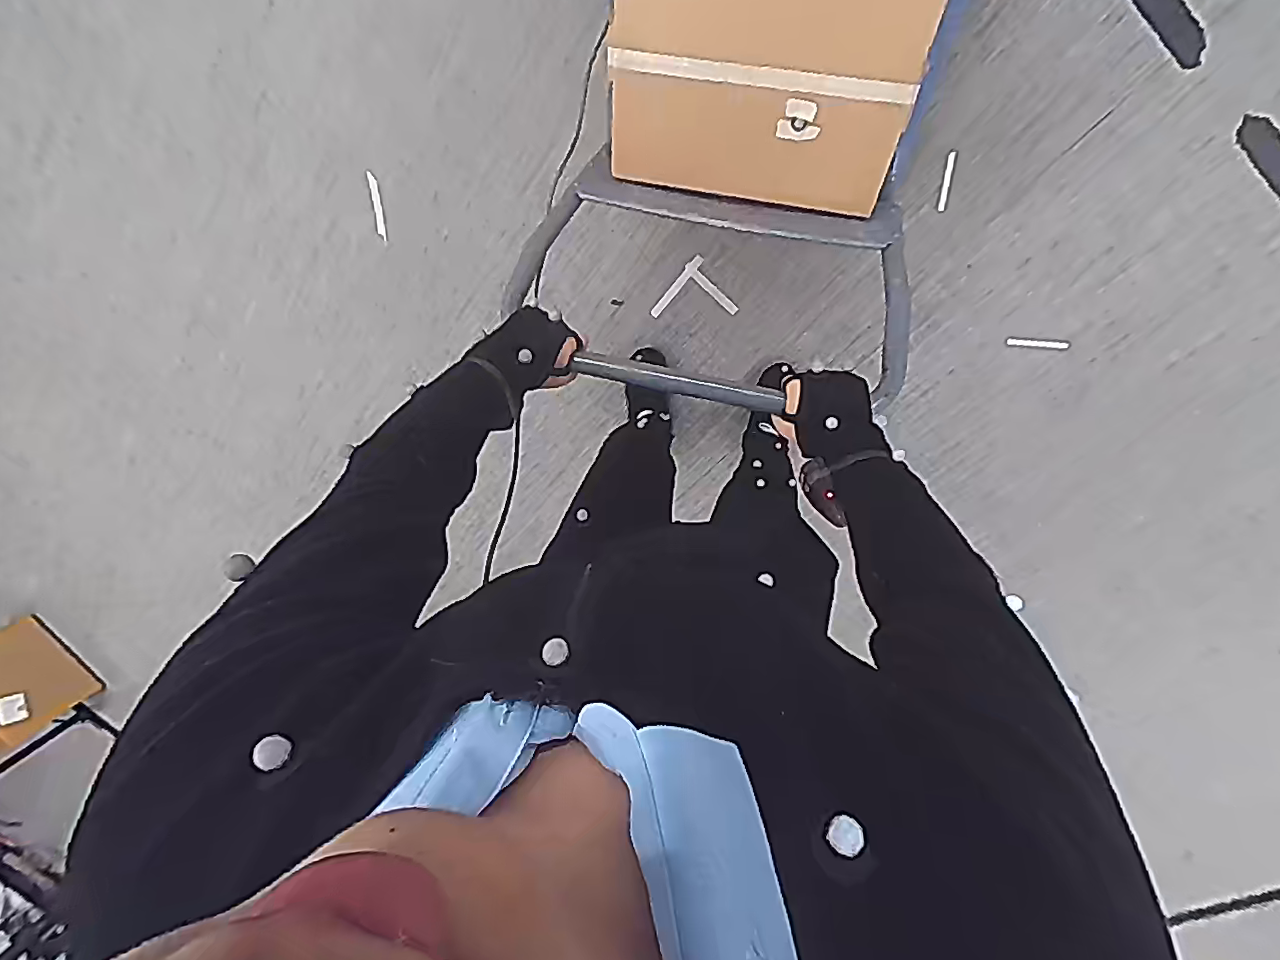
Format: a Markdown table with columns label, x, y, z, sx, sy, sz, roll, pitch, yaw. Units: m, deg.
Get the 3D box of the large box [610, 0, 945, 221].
| label | x | y | z | sx | sy | sz | roll | pitch | yaw |
| --- | --- | --- | --- | --- | --- | --- | --- | --- | --- |
| large box | 0.185 | -0.632 | 0.817 | 0.408 | 0.320 | 0.320 | 12 | 138 | 6 |
